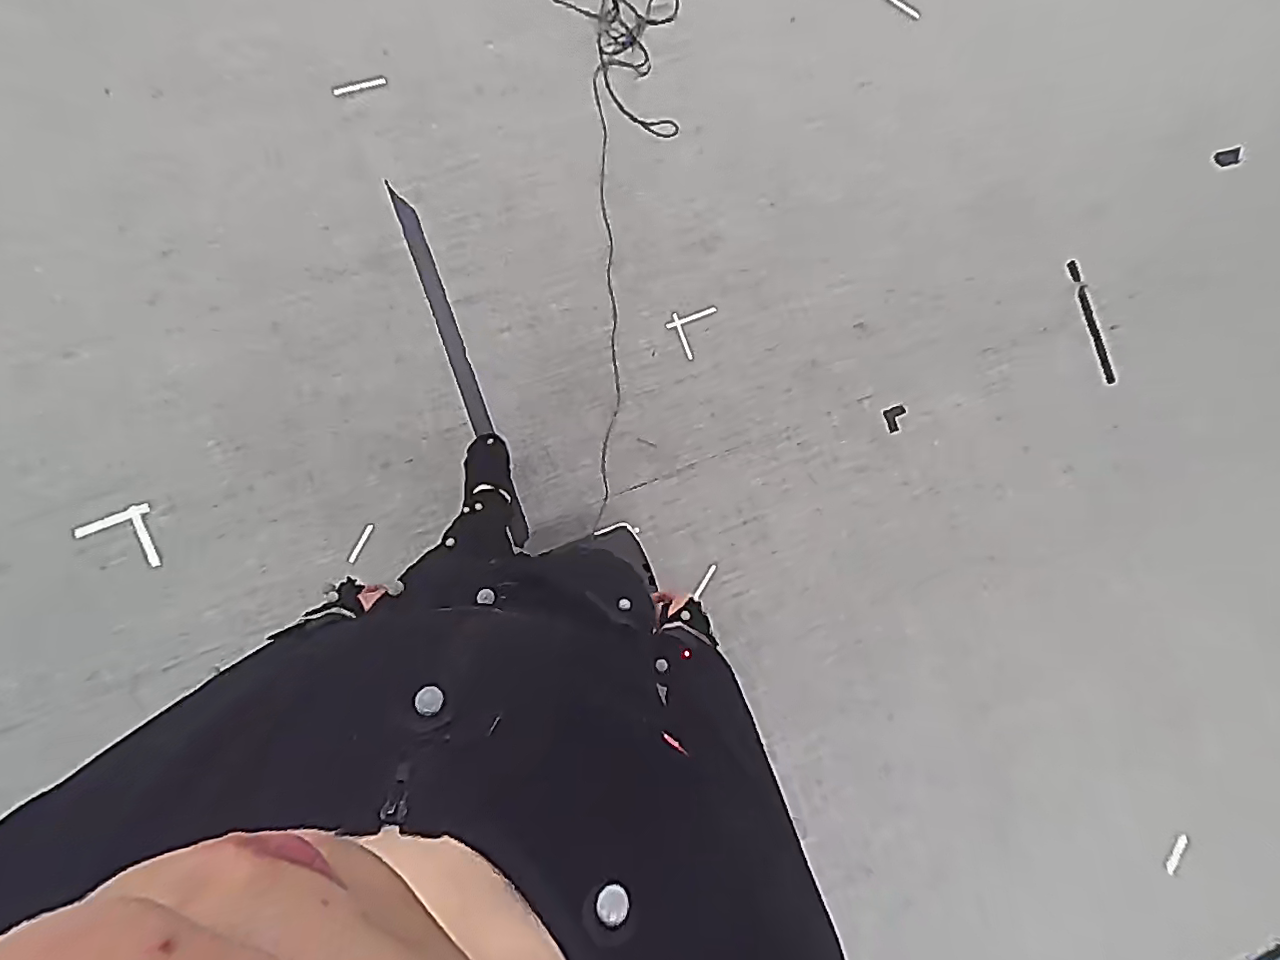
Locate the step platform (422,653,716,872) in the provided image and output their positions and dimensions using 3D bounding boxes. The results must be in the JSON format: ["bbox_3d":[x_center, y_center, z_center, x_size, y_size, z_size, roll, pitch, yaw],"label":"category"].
[{"bbox_3d":[-0.161,0.669,1.320,0.684,0.204,0.286,-16,87,-6],"label":"step platform"}]
